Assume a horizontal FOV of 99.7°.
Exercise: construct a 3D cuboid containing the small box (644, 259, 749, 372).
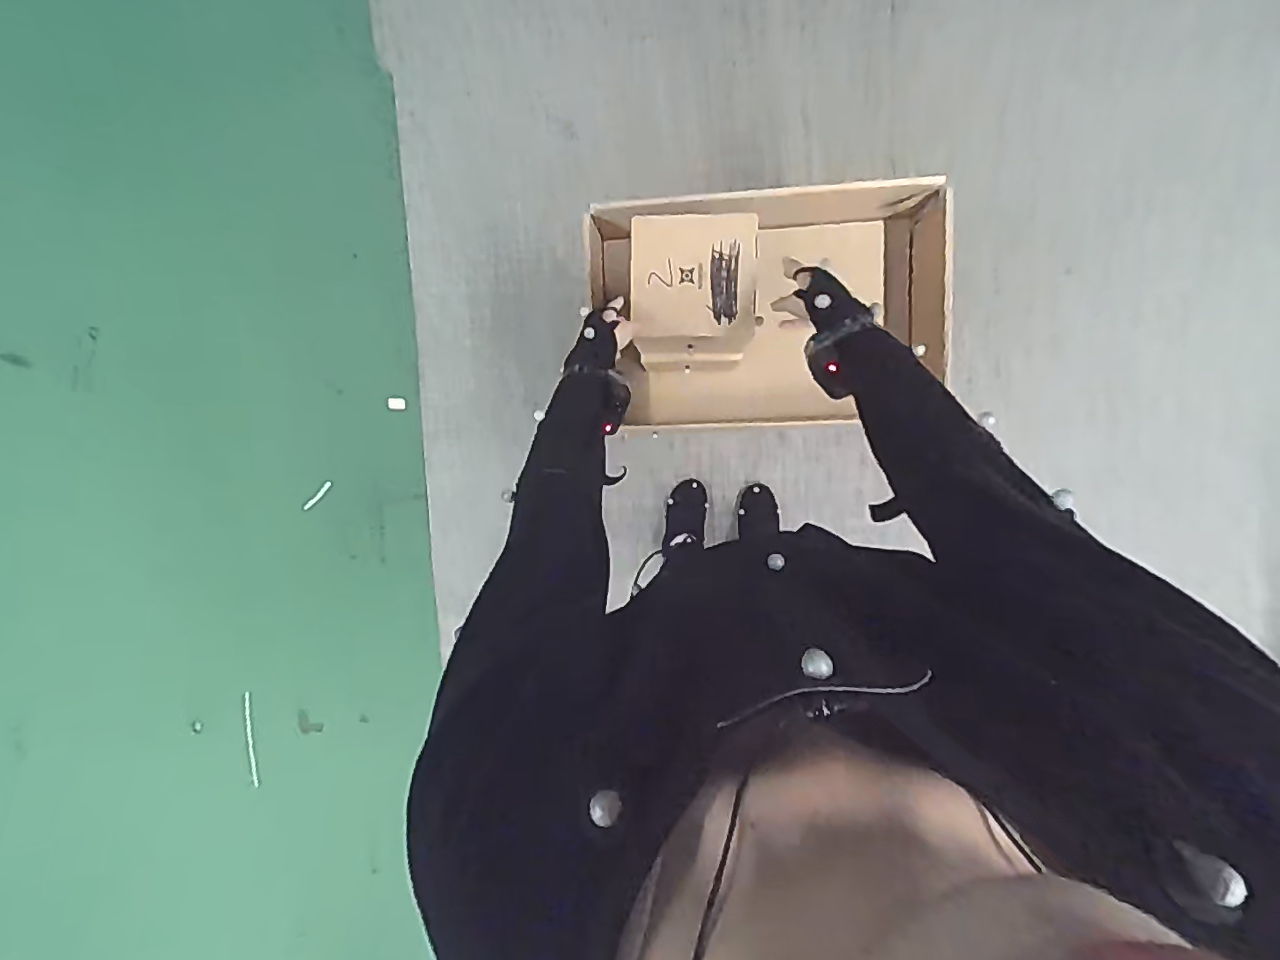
[{"bbox_3d":[0.100,-0.290,0.981,0.179,0.176,0.168,0,94,6],"label":"small box"}]
